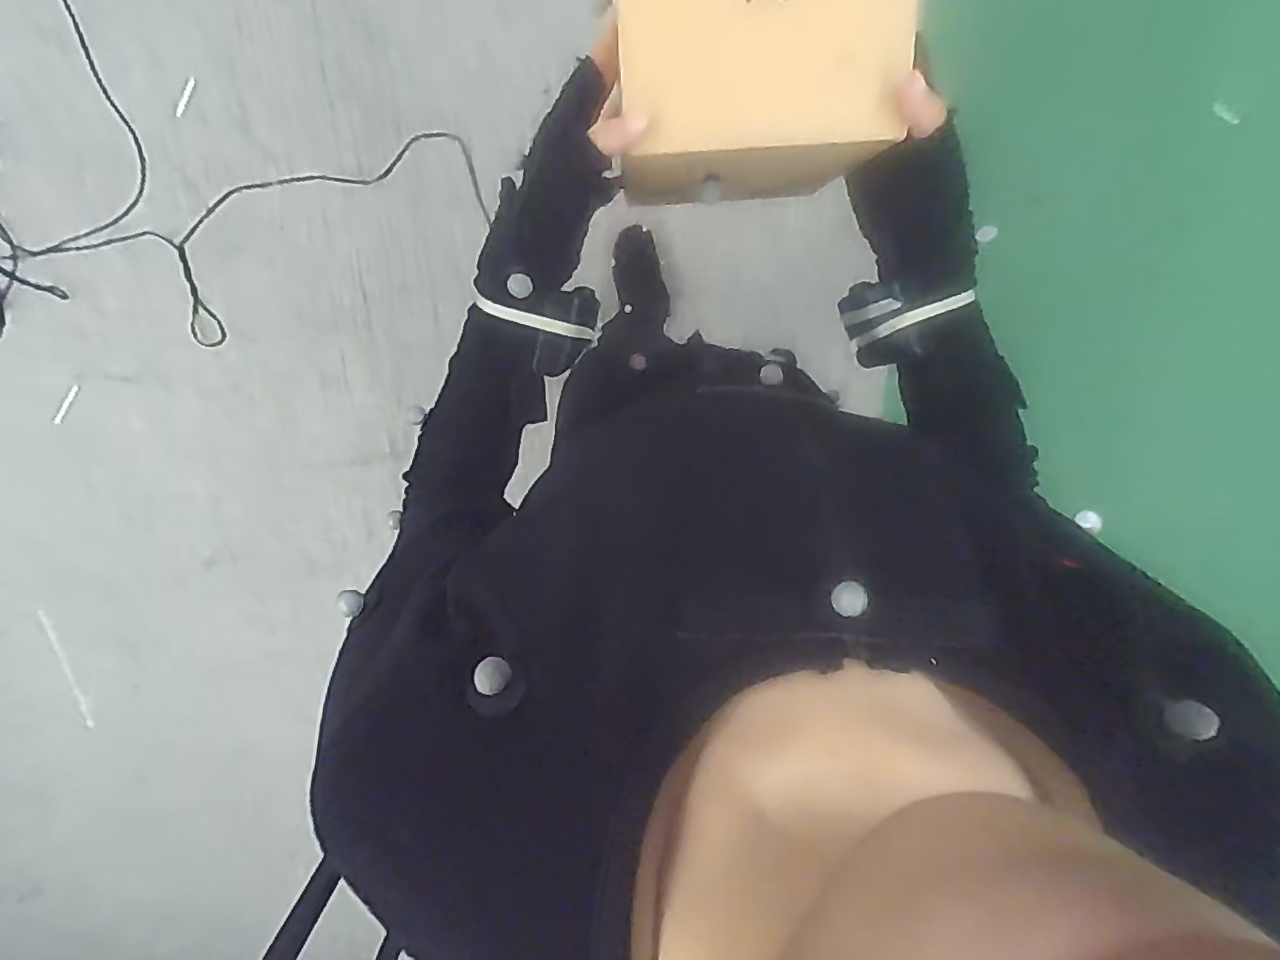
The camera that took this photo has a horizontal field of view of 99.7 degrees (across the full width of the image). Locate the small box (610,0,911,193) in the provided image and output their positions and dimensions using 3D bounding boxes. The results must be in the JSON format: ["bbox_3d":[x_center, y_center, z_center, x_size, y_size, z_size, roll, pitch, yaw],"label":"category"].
[{"bbox_3d":[0.064,-0.306,0.363,0.168,0.176,0.179,-4,105,0],"label":"small box"}]
